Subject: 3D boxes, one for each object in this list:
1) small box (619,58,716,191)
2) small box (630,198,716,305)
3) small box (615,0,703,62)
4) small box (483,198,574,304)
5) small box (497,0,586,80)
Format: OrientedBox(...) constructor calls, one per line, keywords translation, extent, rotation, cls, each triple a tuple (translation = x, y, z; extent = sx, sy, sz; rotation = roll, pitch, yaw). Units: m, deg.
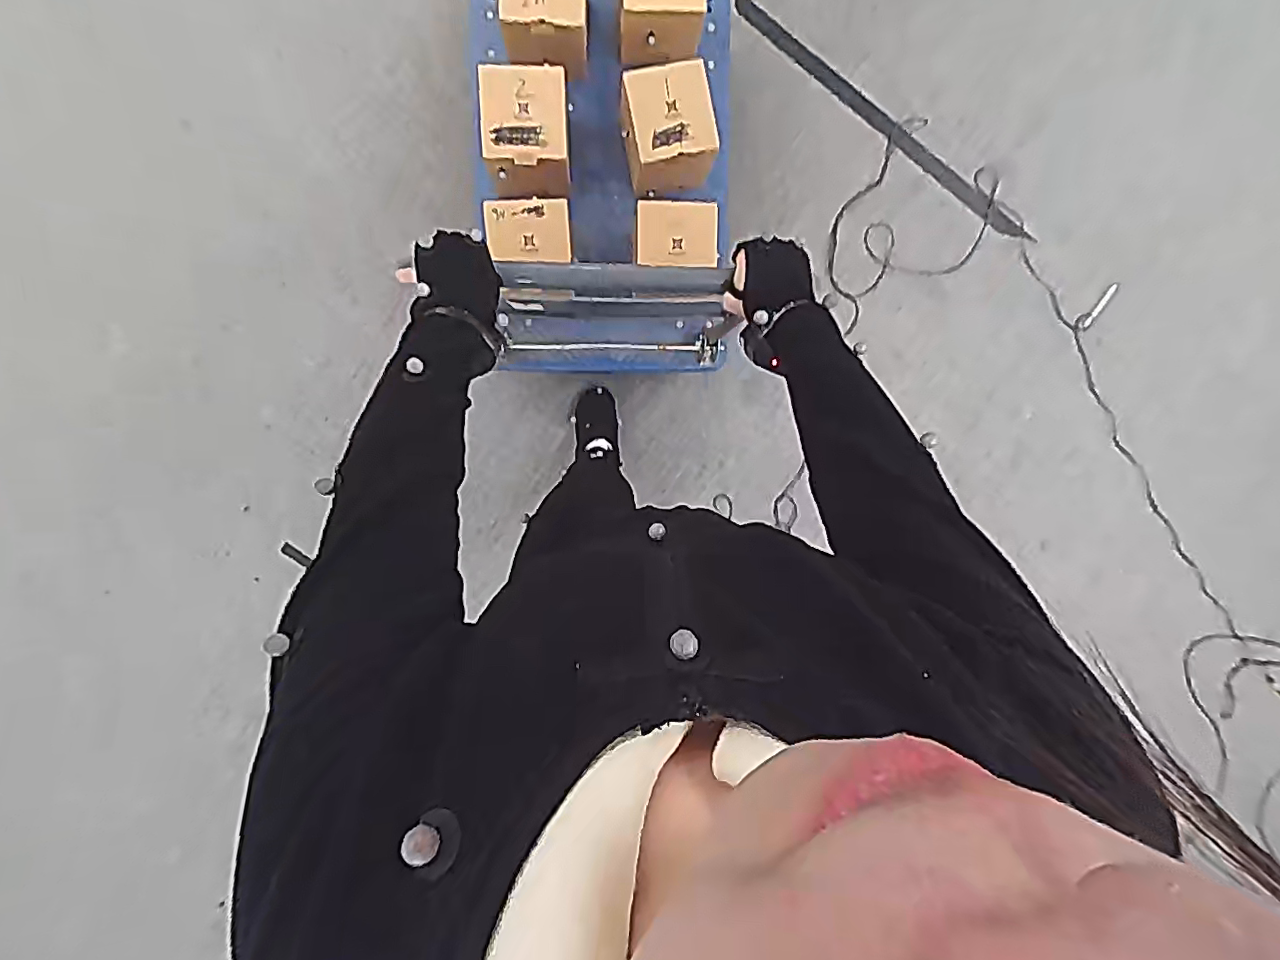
OrientedBox(translation=(0.053, -0.744, 1.155), extent=(0.168, 0.176, 0.179), rotation=(-13, 95, -4), cls="small box")
OrientedBox(translation=(0.067, -0.488, 1.180), extent=(0.168, 0.176, 0.179), rotation=(0, 94, -5), cls="small box")
OrientedBox(translation=(0.035, -1.015, 1.129), extent=(0.168, 0.176, 0.179), rotation=(-4, 95, -4), cls="small box")
OrientedBox(translation=(-0.230, -0.478, 1.155), extent=(0.168, 0.176, 0.179), rotation=(-4, 96, -5), cls="small box")
OrientedBox(translation=(-0.196, -0.975, 1.111), extent=(0.168, 0.176, 0.179), rotation=(1, 96, -5), cls="small box")
